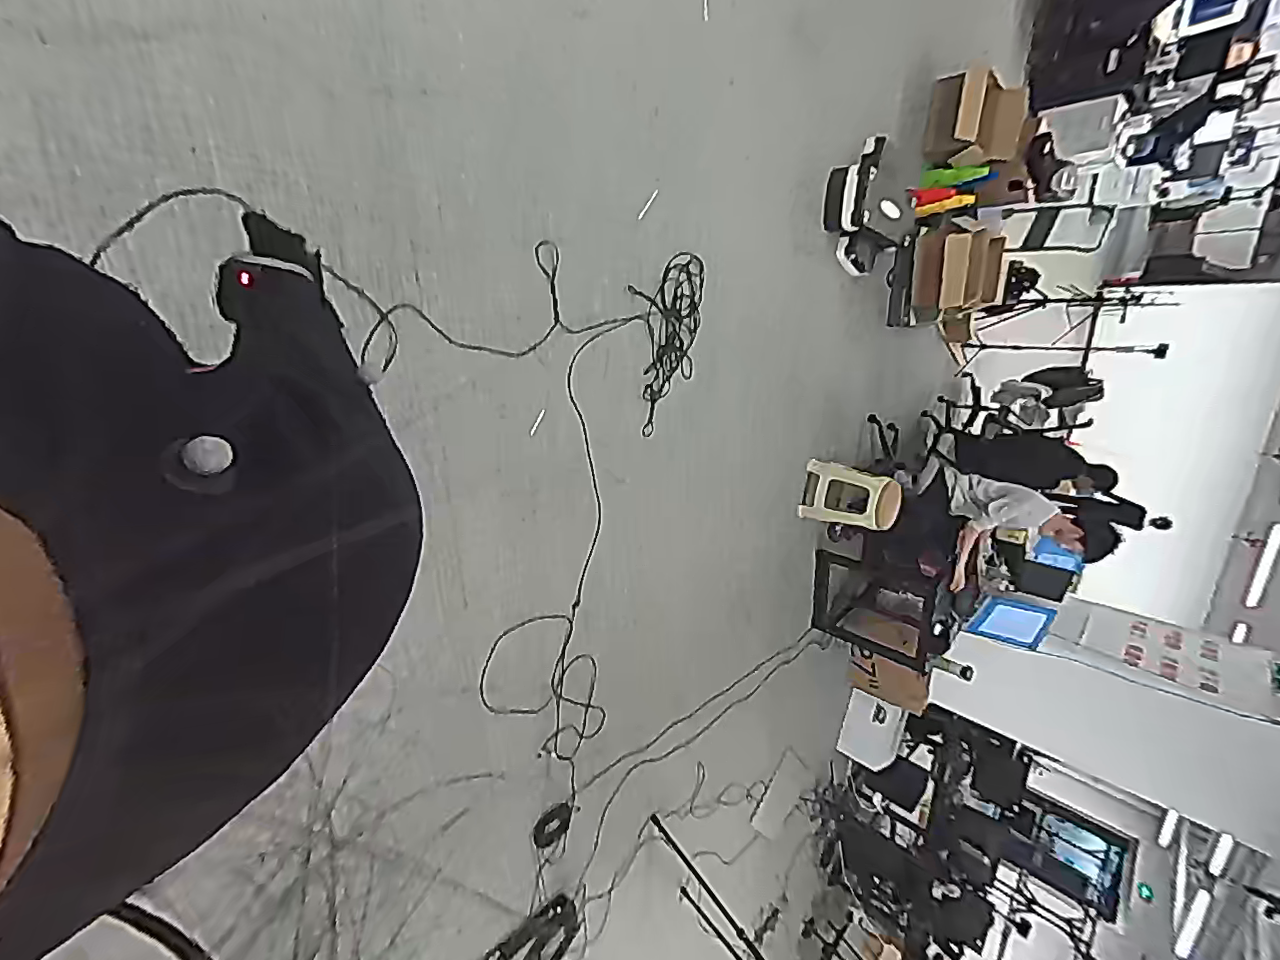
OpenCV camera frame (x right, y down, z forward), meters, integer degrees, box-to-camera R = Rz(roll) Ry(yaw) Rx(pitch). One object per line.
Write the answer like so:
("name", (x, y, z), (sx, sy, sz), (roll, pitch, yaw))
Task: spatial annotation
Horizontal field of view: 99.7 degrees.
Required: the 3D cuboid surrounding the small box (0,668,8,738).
("small box", (-1.221, 0.365, 0.914), (0.168, 0.176, 0.179), (-16, 113, -43))
